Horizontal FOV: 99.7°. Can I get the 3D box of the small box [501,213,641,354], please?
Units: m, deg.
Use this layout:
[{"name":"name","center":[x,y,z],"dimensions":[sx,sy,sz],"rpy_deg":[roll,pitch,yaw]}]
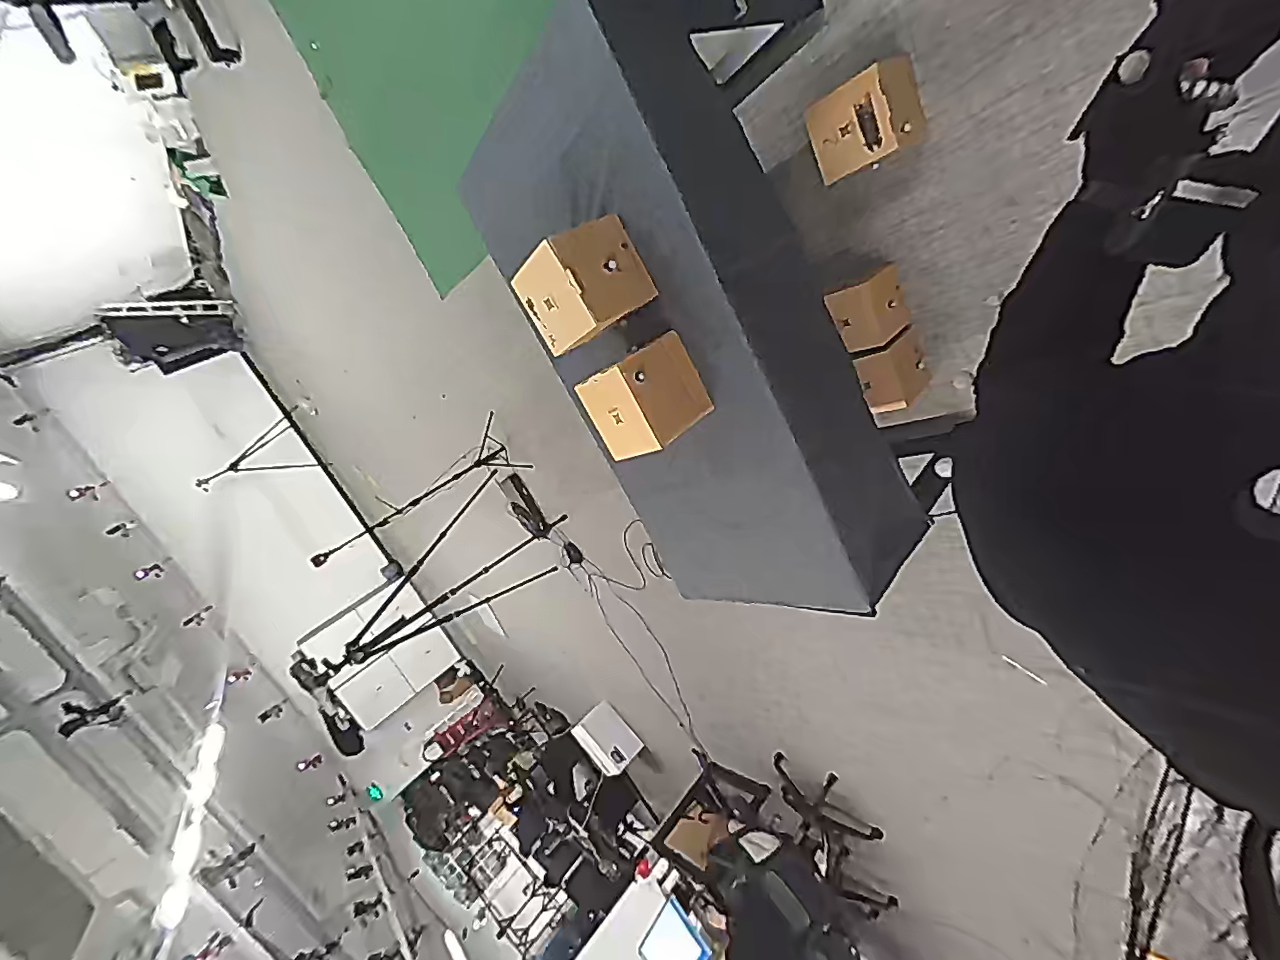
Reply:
[{"name":"small box","center":[-0.121,-0.366,1.009],"dimensions":[0.179,0.176,0.168],"rpy_deg":[-14,110,54]}]
